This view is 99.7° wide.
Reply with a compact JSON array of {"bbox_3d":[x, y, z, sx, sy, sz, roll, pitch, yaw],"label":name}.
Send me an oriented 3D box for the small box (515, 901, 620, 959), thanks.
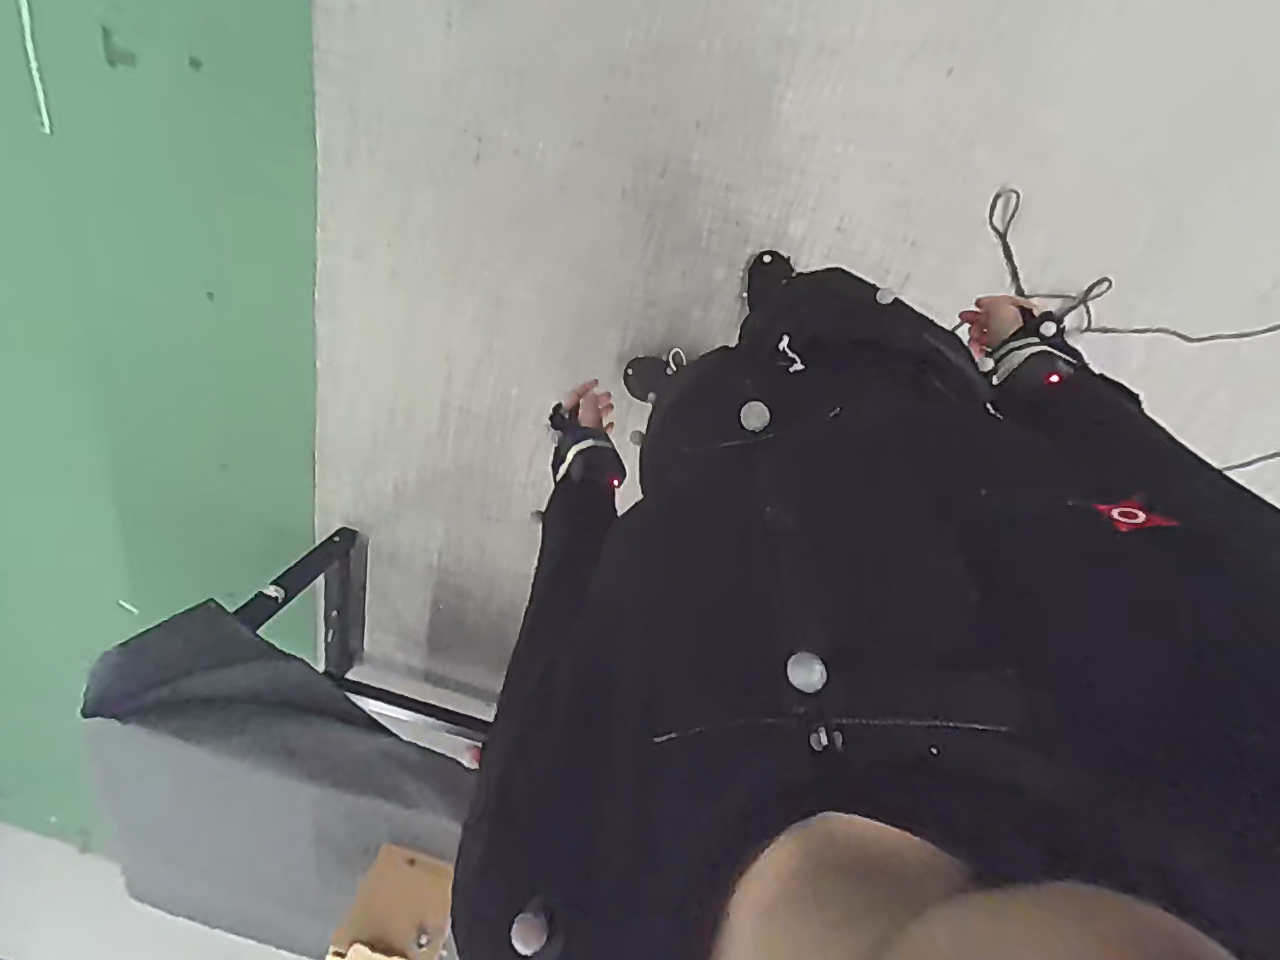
[{"bbox_3d":[-0.141,0.886,0.944,0.168,0.176,0.179,20,117,0],"label":"small box"}]
